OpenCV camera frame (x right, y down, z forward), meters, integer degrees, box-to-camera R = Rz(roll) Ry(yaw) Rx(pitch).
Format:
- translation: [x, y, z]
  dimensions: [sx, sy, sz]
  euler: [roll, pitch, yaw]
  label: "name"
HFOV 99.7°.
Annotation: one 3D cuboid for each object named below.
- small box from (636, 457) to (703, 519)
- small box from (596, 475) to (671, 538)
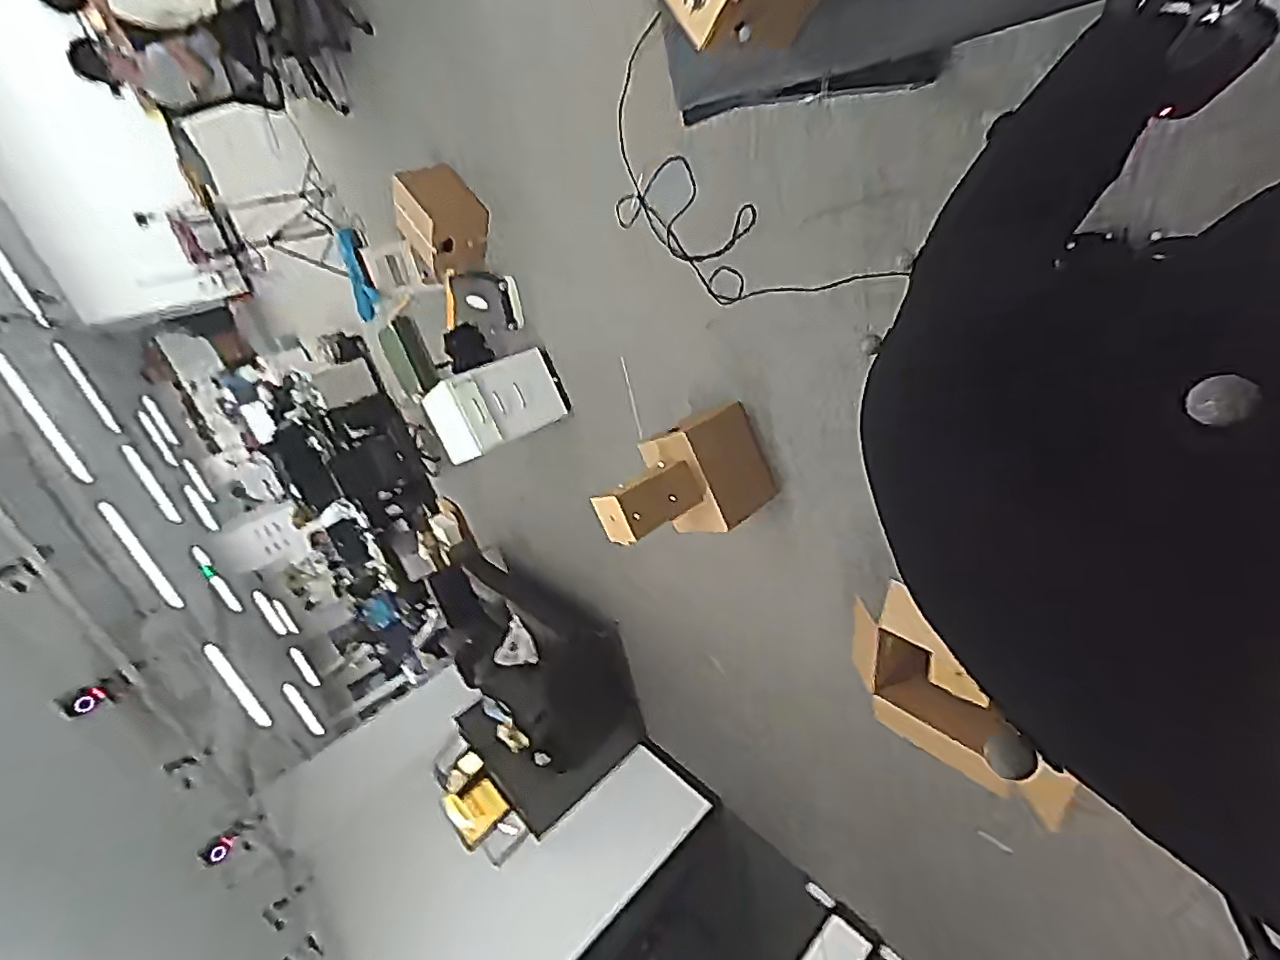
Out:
- translation: [0.103, 0.031, 1.991]
  dimensions: [0.168, 0.176, 0.179]
  euler: [-8, 108, 55]
  label: "small box"
- translation: [-0.020, 0.089, 1.902]
  dimensions: [0.168, 0.176, 0.179]
  euler: [-8, 109, 55]
  label: "small box"
